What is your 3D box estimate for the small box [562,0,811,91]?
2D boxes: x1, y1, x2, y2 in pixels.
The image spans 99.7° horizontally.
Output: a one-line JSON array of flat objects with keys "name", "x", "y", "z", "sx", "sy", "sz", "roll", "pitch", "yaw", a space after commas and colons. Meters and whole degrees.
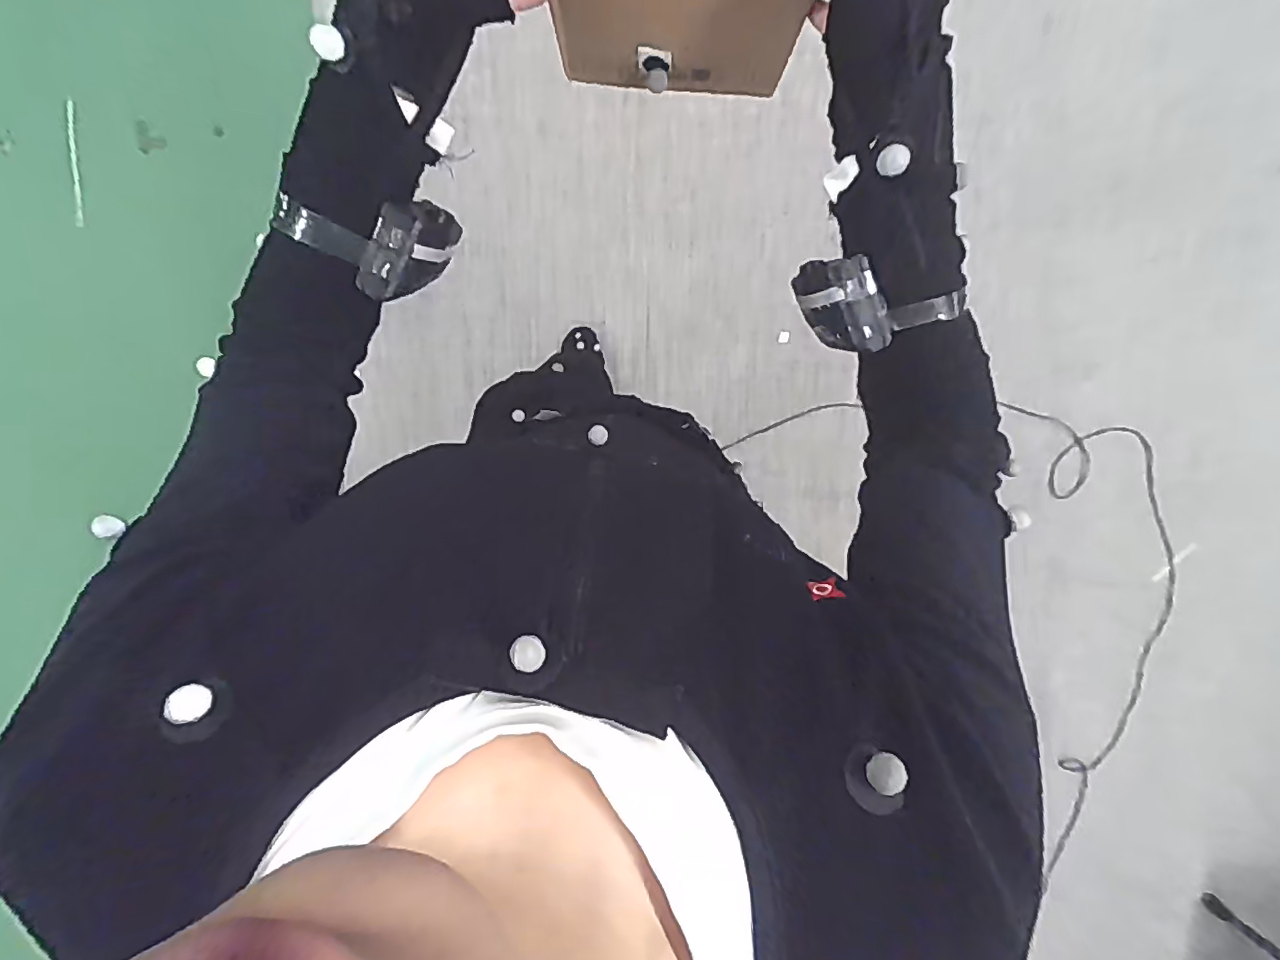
[{"name": "small box", "x": 0.032, "y": -0.386, "z": 0.333, "sx": 0.168, "sy": 0.176, "sz": 0.179, "roll": 4, "pitch": 99, "yaw": 0}]
